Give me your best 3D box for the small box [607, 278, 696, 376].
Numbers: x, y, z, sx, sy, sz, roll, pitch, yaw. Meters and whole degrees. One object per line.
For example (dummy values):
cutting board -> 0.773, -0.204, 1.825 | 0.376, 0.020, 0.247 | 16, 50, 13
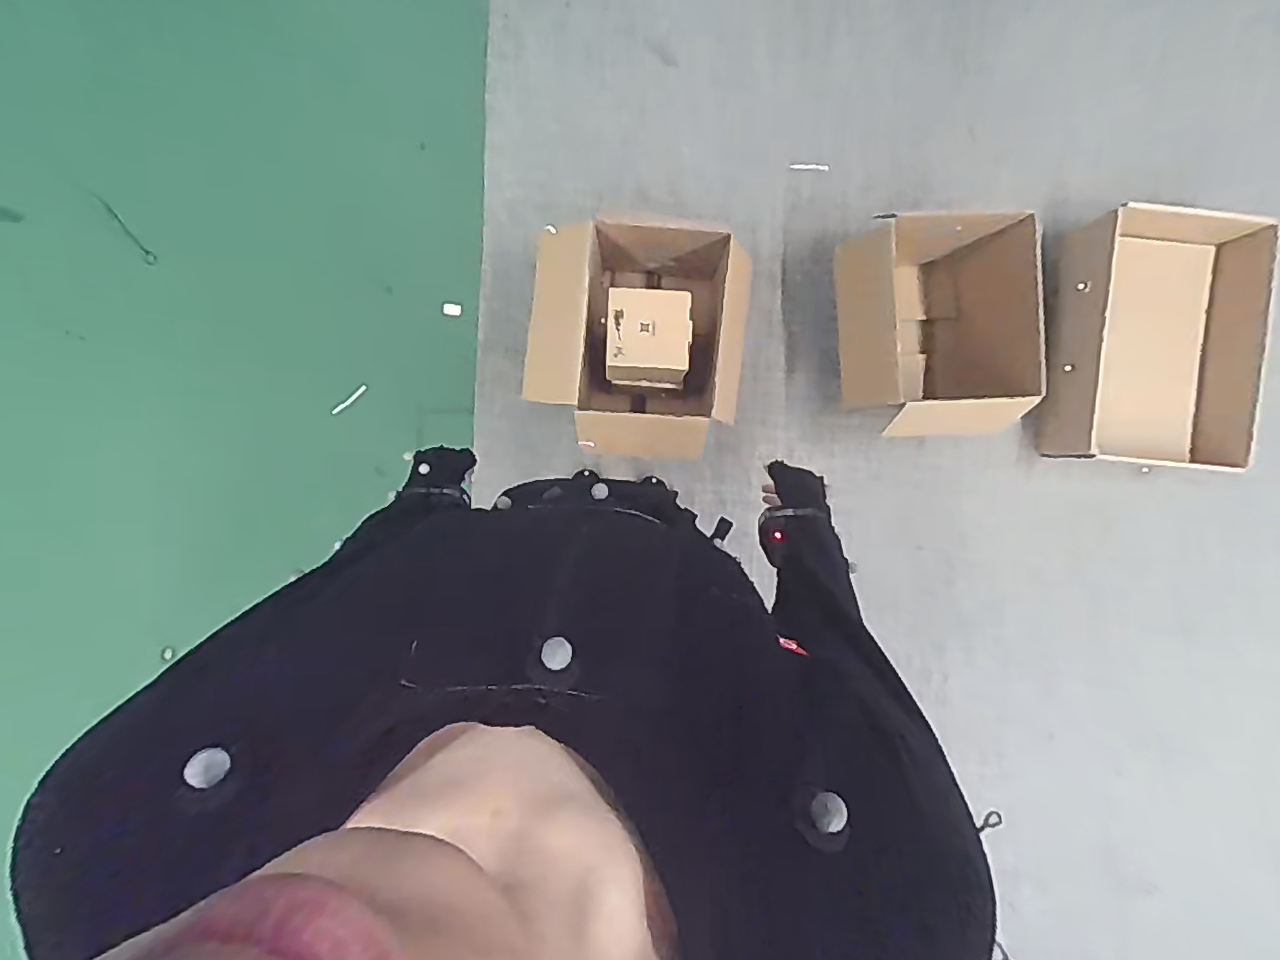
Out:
small box -> 0.020, -0.330, 1.199 | 0.179, 0.176, 0.168 | 3, 90, -4
